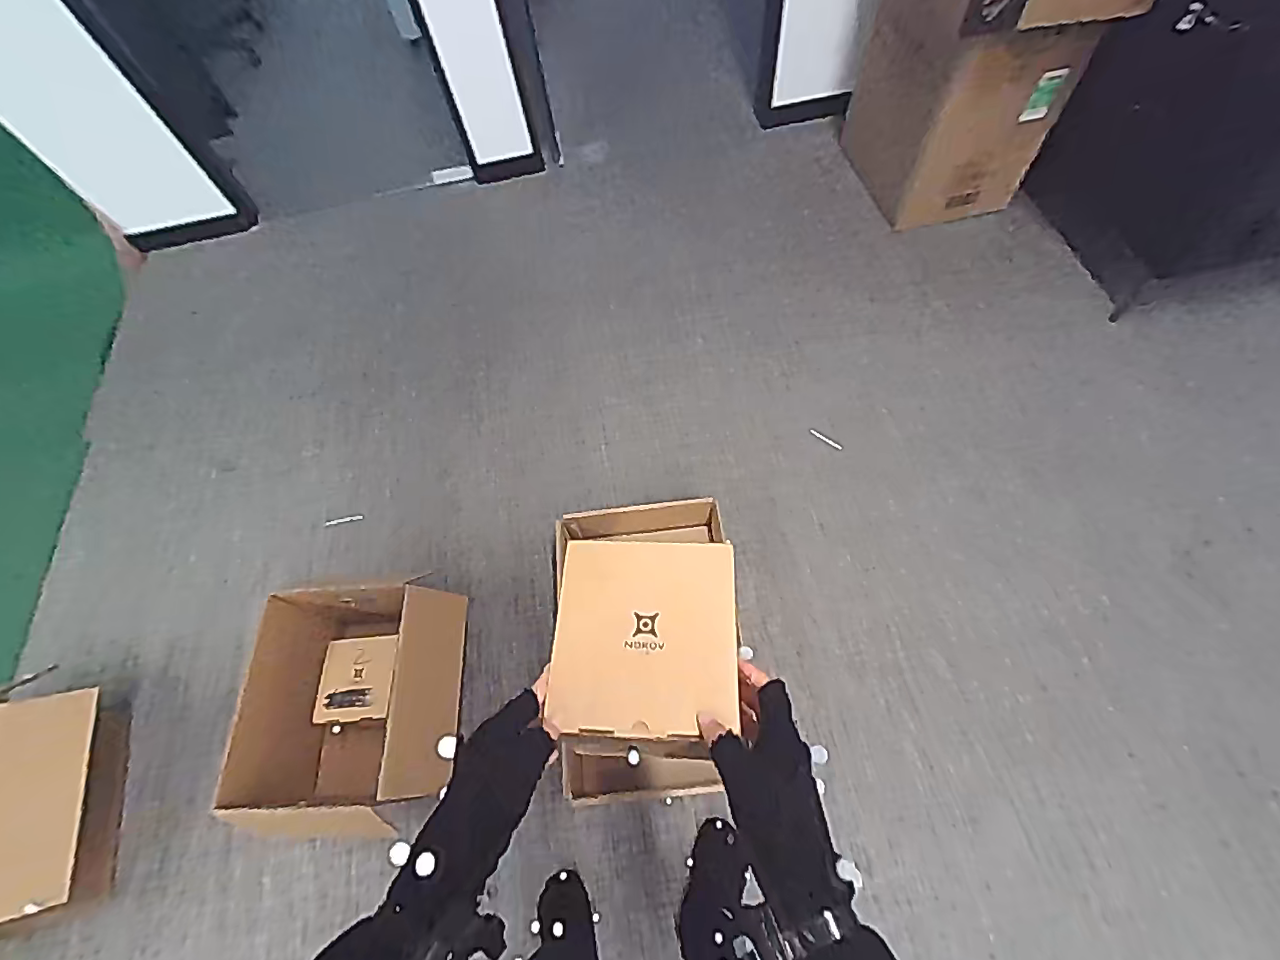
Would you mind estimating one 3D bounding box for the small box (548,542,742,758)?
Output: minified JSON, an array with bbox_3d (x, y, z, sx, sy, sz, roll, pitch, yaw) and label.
[{"bbox_3d":[0.013,0.179,0.561,0.168,0.176,0.179,0,59,5],"label":"small box"}]
